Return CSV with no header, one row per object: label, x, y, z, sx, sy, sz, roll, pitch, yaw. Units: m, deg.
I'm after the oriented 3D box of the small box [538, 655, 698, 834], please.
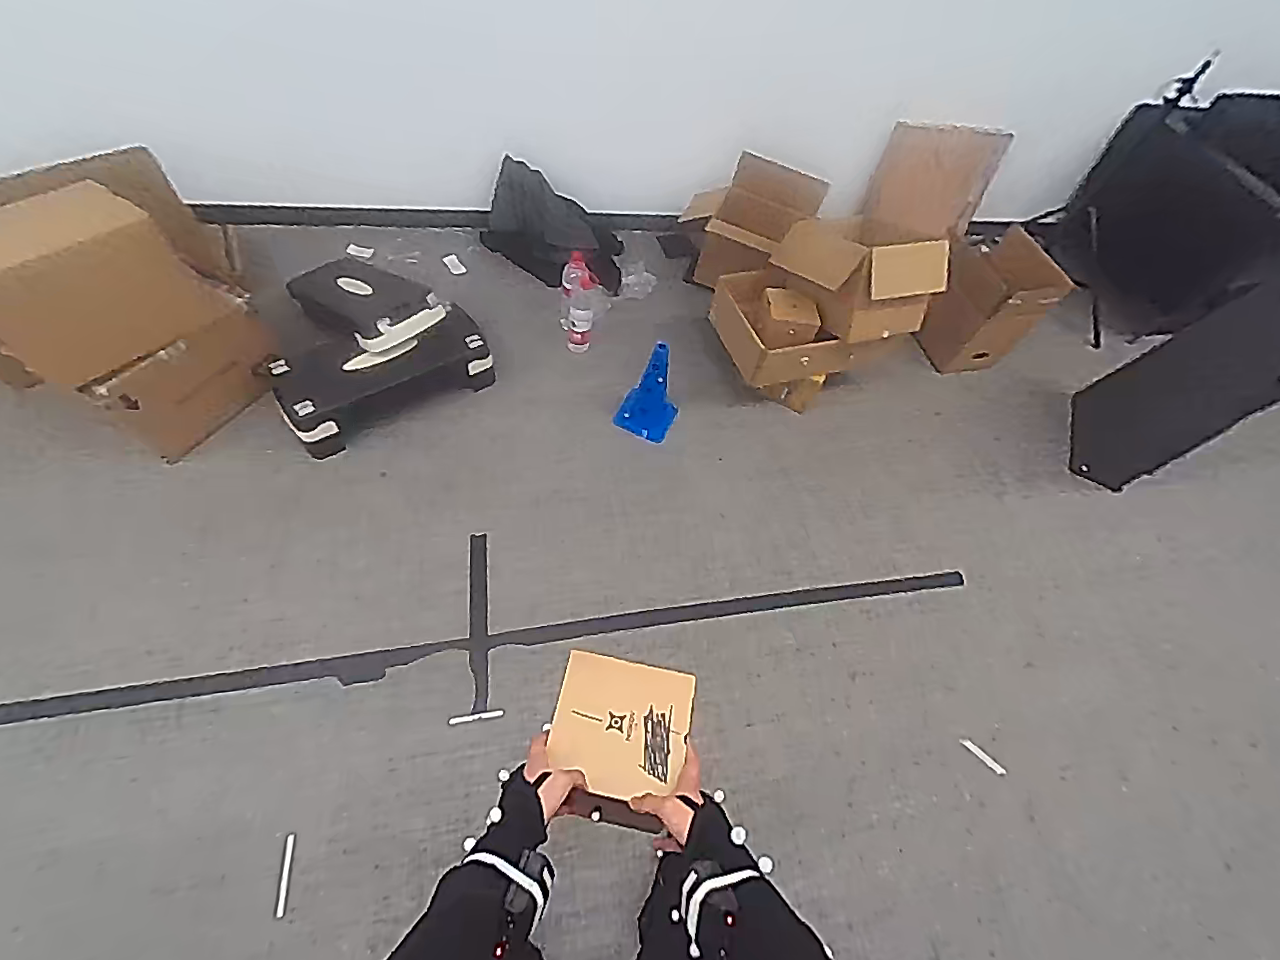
small box,-0.031,0.366,0.740,0.179,0.176,0.168,12,48,1
